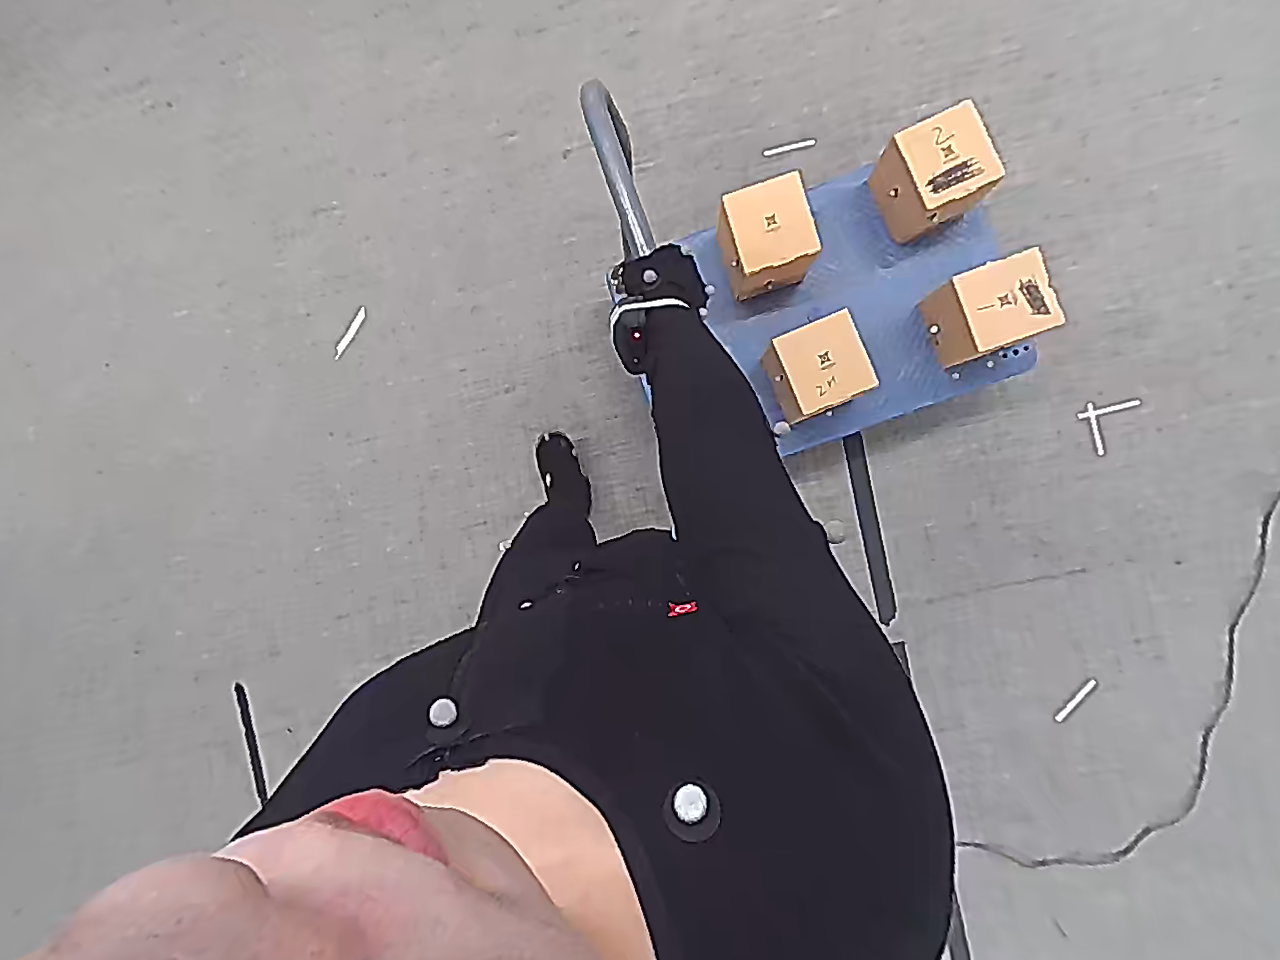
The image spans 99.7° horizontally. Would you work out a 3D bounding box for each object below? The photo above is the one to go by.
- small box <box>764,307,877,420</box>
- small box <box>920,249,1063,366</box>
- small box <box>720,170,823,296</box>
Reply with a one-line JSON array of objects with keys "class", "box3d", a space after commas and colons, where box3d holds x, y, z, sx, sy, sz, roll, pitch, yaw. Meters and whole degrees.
[{"class": "small box", "box3d": [0.385, -0.246, 1.188, 0.168, 0.176, 0.179, -21, 88, 4]}, {"class": "small box", "box3d": [0.741, -0.360, 1.159, 0.179, 0.176, 0.168, -18, 89, 6]}, {"class": "small box", "box3d": [0.281, -0.537, 1.197, 0.168, 0.176, 0.179, -17, 90, 4]}]
